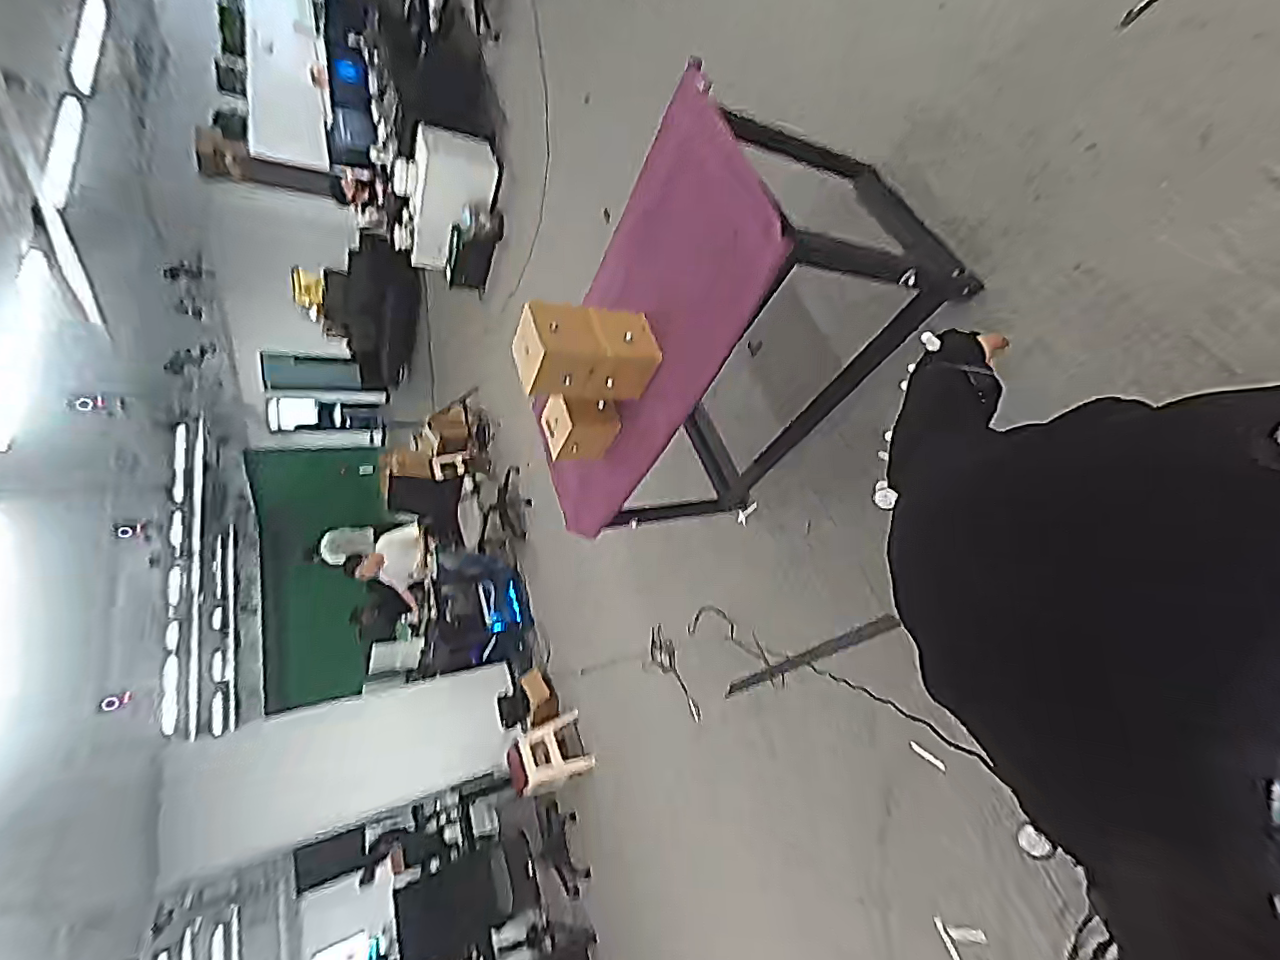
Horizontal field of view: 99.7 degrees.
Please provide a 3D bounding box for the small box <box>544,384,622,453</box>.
[{"bbox_3d":[-0.177,-0.199,1.671,0.179,0.176,0.168,-51,52,47],"label":"small box"}]

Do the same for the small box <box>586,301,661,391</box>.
[{"bbox_3d":[-0.060,-0.358,1.465,0.179,0.176,0.168,-52,51,48],"label":"small box"}]

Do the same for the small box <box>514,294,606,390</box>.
[{"bbox_3d":[-0.206,-0.350,1.387,0.168,0.176,0.179,-51,51,48],"label":"small box"}]
